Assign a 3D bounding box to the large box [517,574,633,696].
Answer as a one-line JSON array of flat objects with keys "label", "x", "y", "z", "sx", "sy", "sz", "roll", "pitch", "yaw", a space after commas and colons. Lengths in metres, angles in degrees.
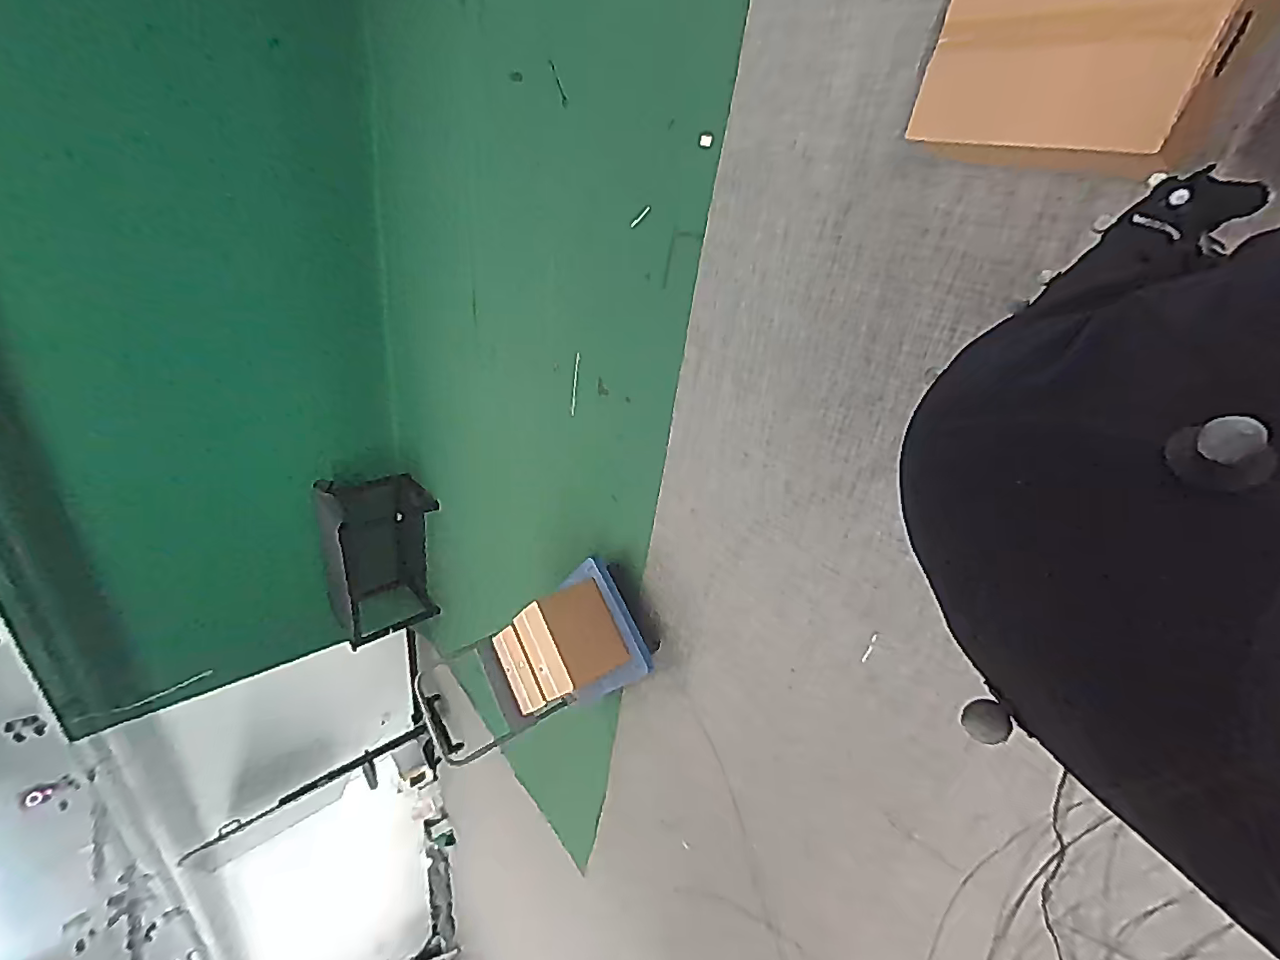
[{"label": "large box", "x": -0.301, "y": 0.699, "z": 2.456, "sx": 0.320, "sy": 0.320, "sz": 0.408, "roll": -43, "pitch": 70, "yaw": 48}]
